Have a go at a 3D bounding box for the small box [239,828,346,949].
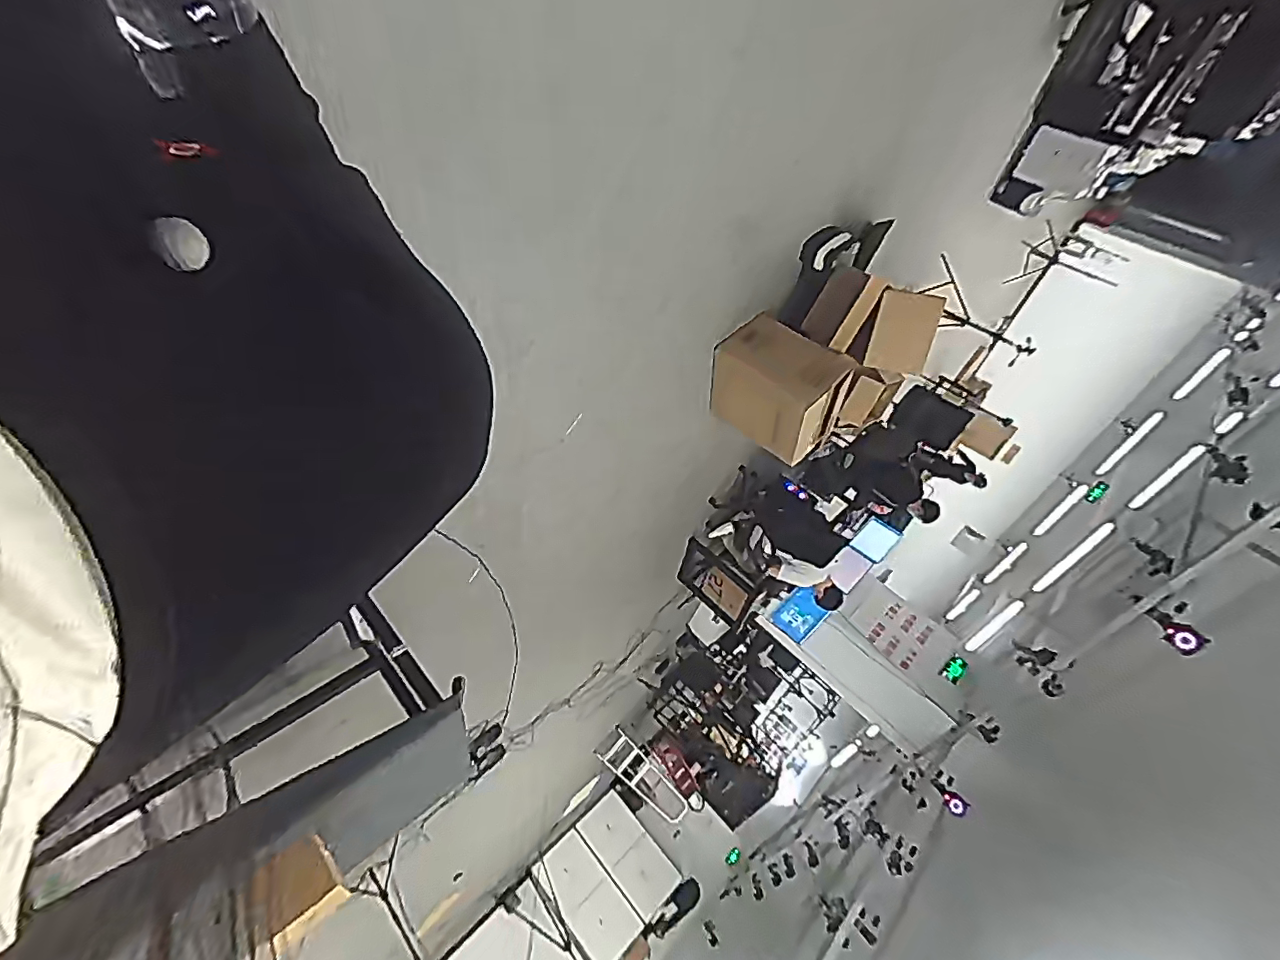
[{"bbox_3d":[-0.908,1.061,1.409,0.179,0.176,0.168,-32,151,-36],"label":"small box"}]
